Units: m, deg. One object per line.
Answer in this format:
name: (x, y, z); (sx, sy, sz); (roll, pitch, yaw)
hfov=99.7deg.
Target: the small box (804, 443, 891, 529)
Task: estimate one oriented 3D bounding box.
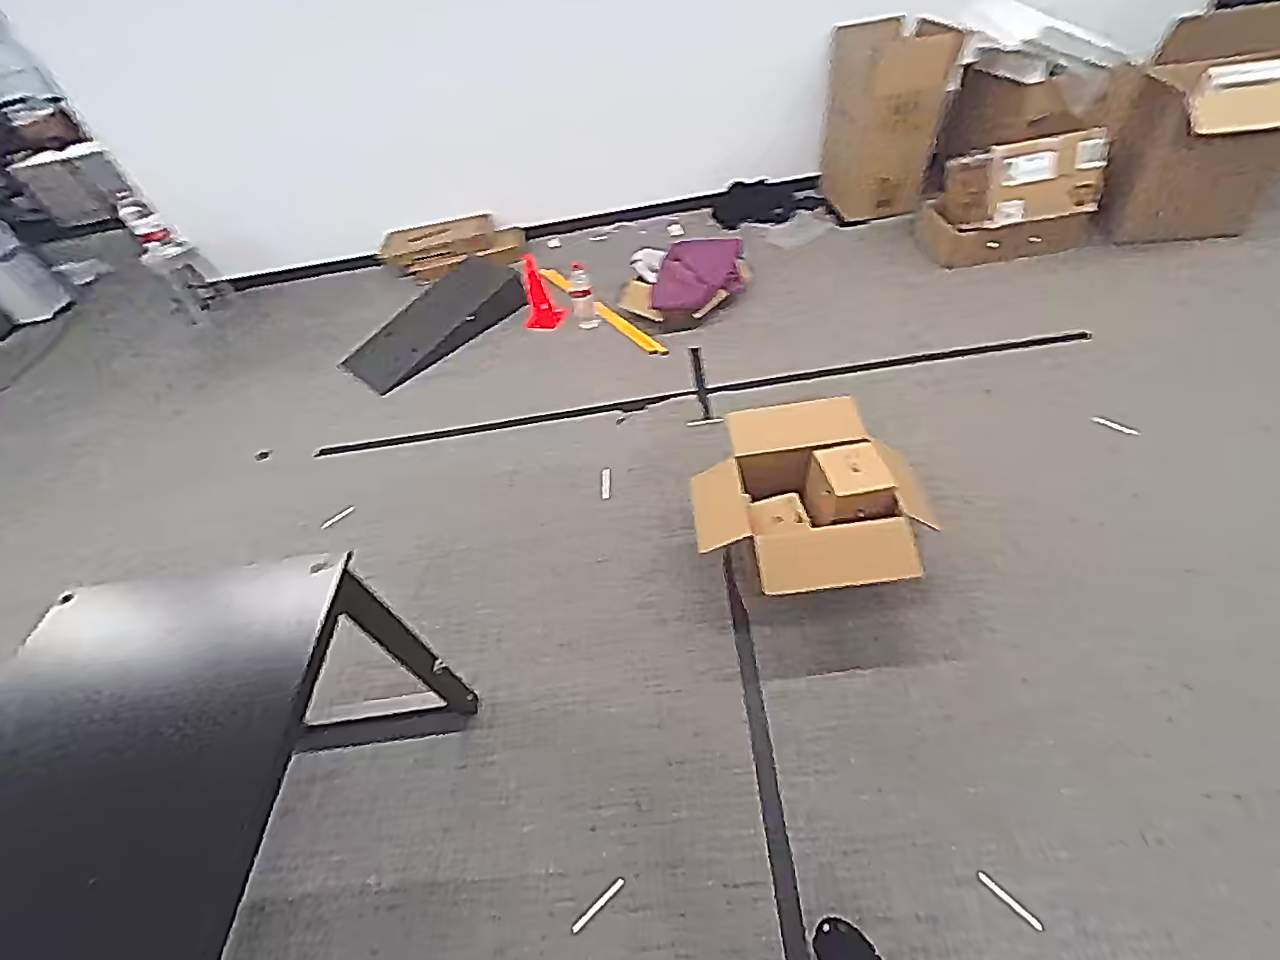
small box: (0.584, 0.024, 1.543); (0.168, 0.176, 0.179); (-10, 47, -3)
